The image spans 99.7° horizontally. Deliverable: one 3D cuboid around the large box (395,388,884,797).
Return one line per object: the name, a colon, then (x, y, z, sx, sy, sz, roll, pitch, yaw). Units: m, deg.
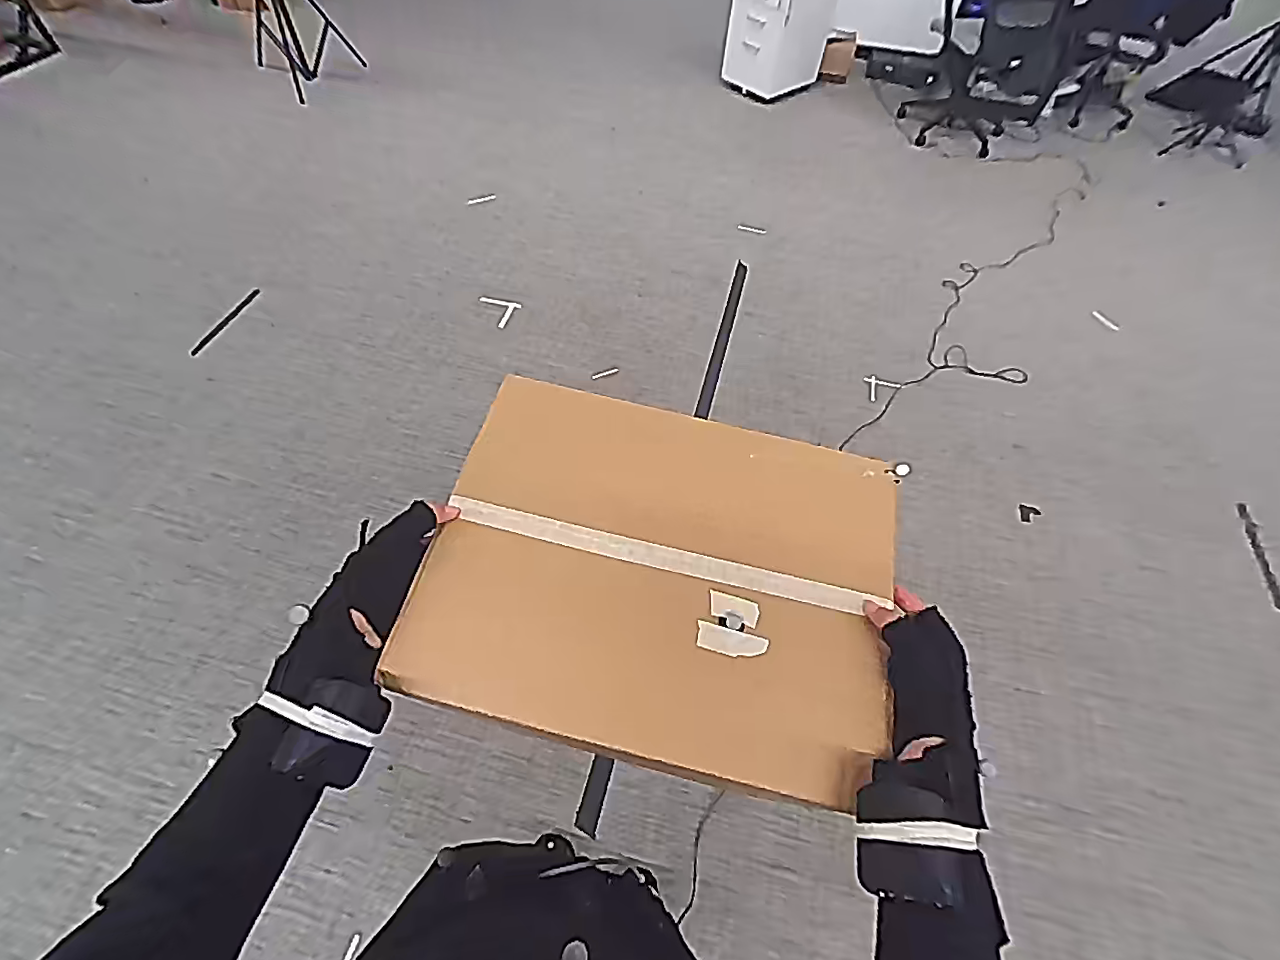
large box: (0.012, 0.142, 0.626, 0.408, 0.320, 0.320, 14, 63, 2)
